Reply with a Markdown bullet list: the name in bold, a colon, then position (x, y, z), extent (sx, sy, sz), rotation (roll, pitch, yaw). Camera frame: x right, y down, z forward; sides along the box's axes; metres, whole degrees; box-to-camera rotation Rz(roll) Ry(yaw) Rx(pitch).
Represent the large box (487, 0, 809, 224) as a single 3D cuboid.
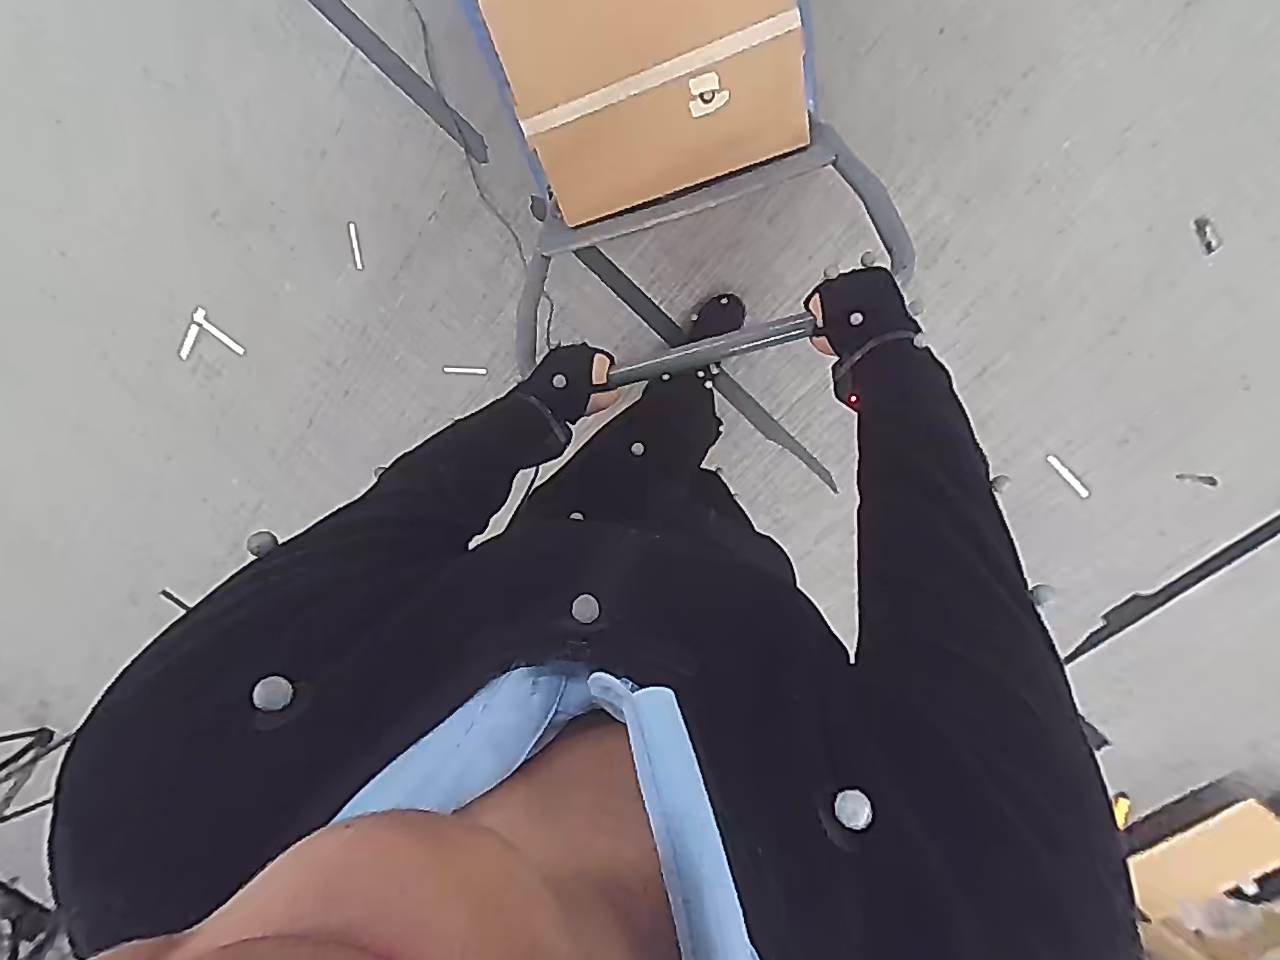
- **large box**: position (0.024, -0.688, 0.895), extent (0.408, 0.320, 0.320), rotation (-14, 131, 13)
